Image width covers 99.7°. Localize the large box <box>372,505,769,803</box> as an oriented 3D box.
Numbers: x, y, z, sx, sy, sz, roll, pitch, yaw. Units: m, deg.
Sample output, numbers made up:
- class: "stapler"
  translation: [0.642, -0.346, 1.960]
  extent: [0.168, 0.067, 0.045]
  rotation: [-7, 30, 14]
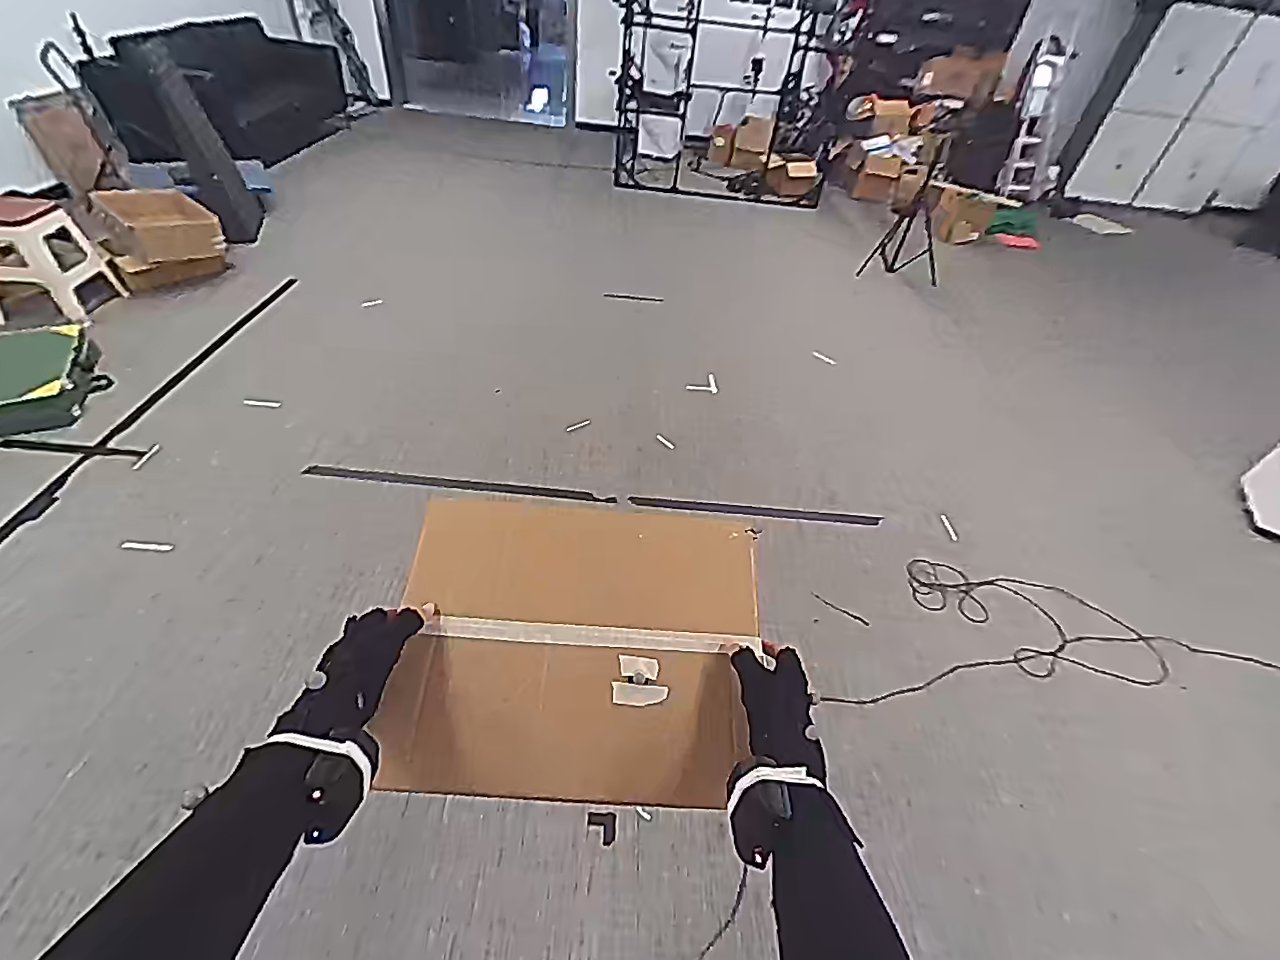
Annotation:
- class: "large box"
  translation: [-0.075, 0.253, 0.738]
  extent: [0.408, 0.320, 0.320]
  rotation: [5, 59, -3]
